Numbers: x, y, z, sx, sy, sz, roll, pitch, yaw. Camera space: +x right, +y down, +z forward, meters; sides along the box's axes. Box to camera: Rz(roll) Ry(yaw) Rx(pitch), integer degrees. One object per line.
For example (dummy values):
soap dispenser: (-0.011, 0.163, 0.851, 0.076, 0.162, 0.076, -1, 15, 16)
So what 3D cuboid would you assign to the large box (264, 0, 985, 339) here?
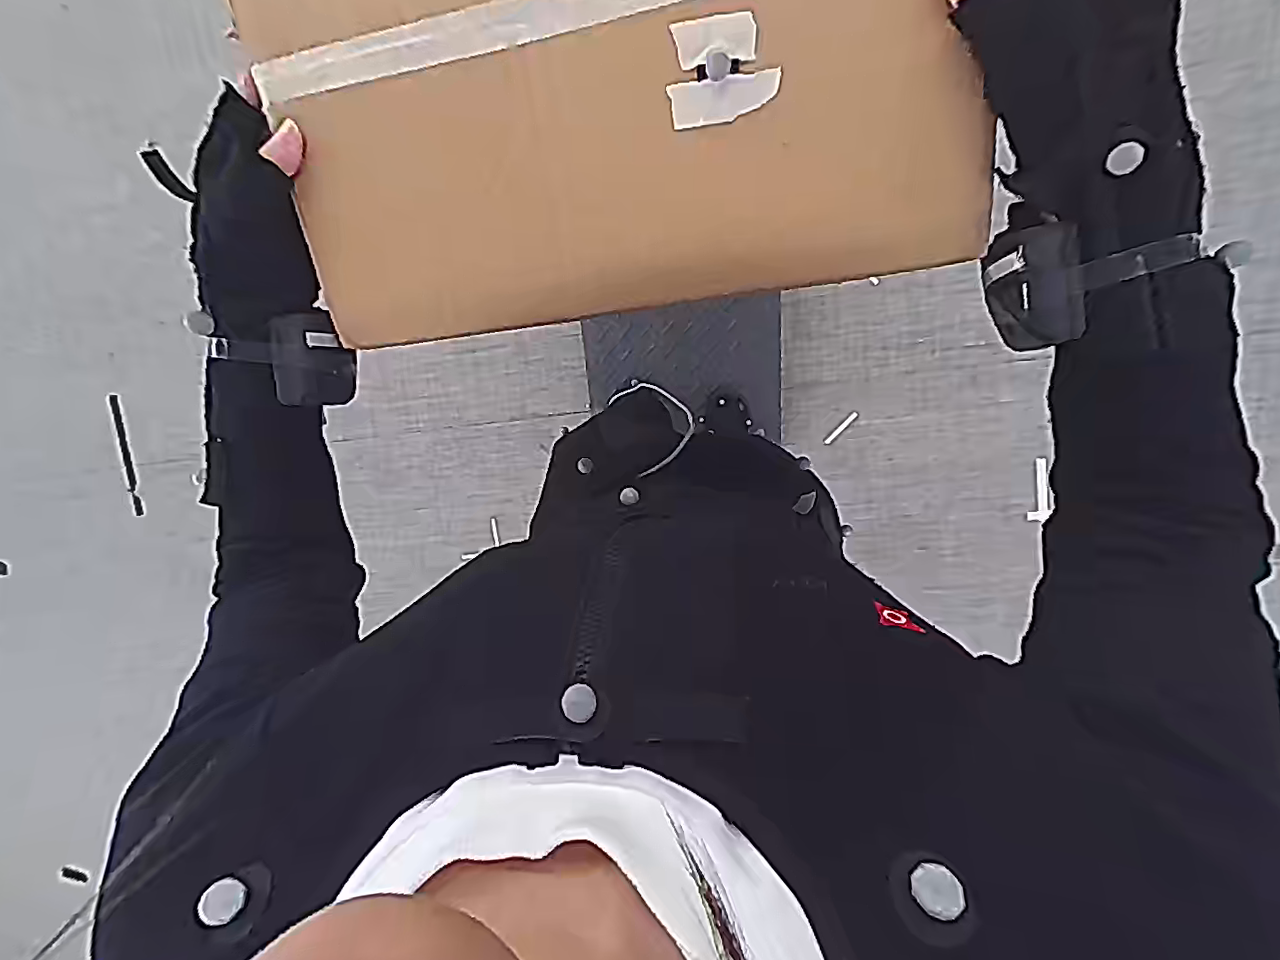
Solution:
large box: (-0.005, -0.312, 0.438, 0.408, 0.320, 0.320, -6, 109, 10)
